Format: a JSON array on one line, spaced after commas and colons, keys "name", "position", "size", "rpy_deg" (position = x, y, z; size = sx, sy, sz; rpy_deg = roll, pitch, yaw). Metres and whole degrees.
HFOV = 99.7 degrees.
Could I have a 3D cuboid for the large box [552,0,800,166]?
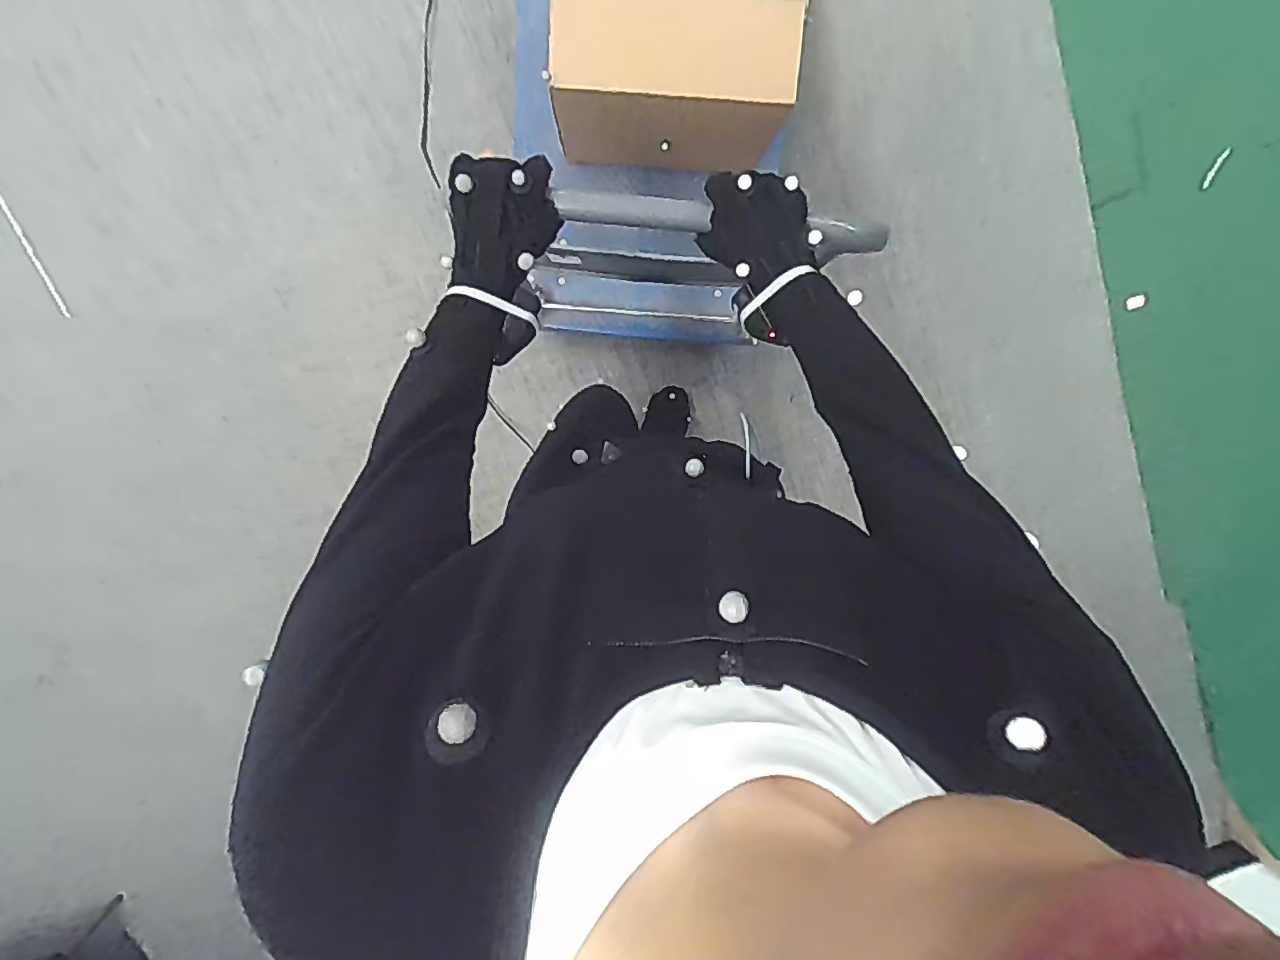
[{"name": "large box", "position": [0.057, -0.808, 1.001], "size": [0.408, 0.320, 0.320], "rpy_deg": [2, 100, -2]}]
